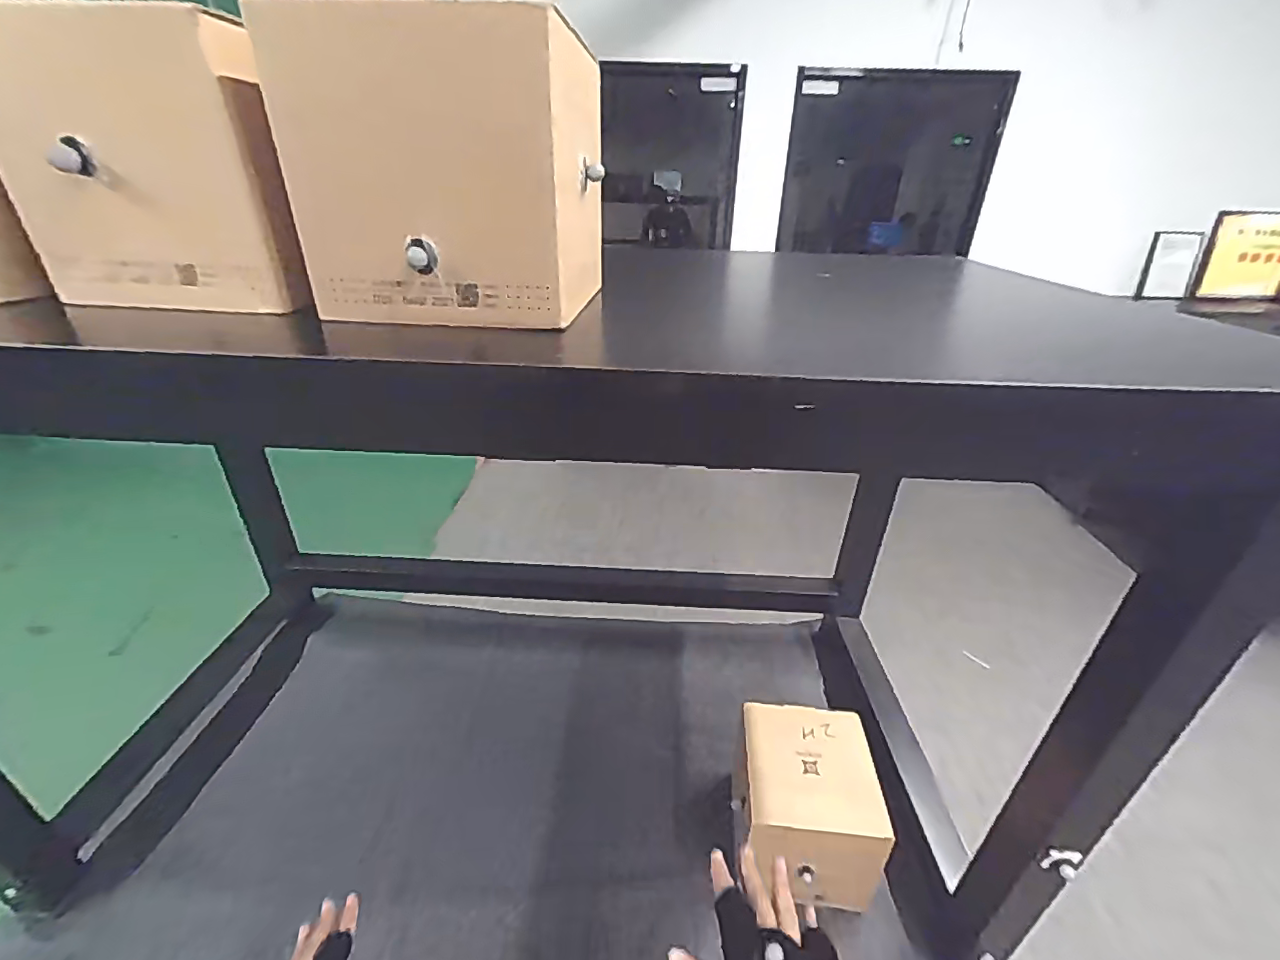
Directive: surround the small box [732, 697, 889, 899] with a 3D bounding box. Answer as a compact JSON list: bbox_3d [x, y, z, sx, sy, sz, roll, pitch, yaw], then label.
[{"bbox_3d":[0.219,0.434,0.745,0.168,0.176,0.179,5,28,5],"label":"small box"}]
